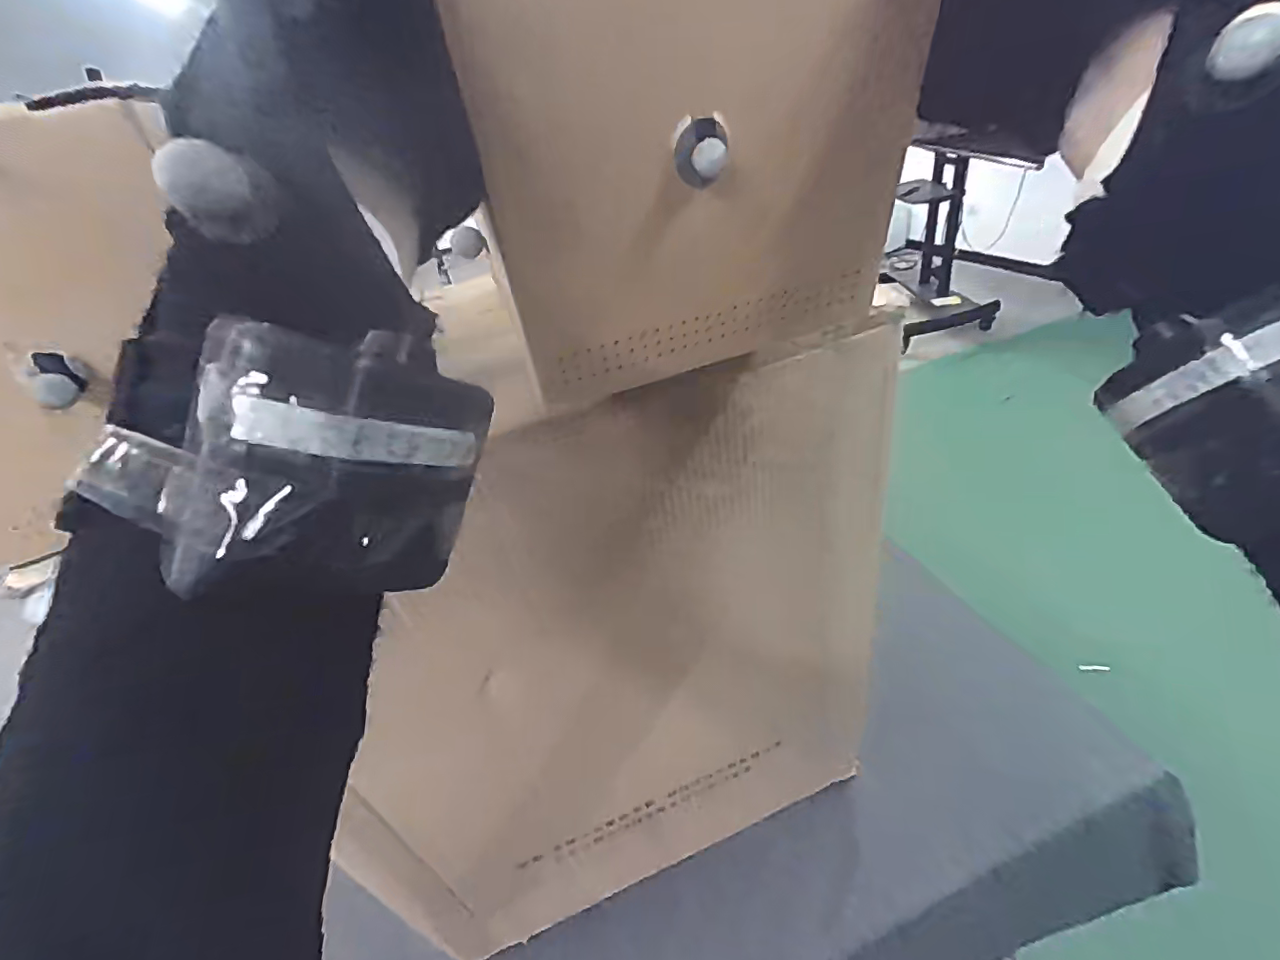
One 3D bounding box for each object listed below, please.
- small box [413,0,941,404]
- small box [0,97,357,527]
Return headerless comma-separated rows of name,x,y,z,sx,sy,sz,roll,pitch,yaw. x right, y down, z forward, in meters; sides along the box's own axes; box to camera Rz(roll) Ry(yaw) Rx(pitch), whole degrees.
small box,0.003,-0.164,0.258,0.179,0.176,0.168,-18,47,-8
small box,-0.281,-0.094,0.303,0.168,0.176,0.179,-20,38,-11
